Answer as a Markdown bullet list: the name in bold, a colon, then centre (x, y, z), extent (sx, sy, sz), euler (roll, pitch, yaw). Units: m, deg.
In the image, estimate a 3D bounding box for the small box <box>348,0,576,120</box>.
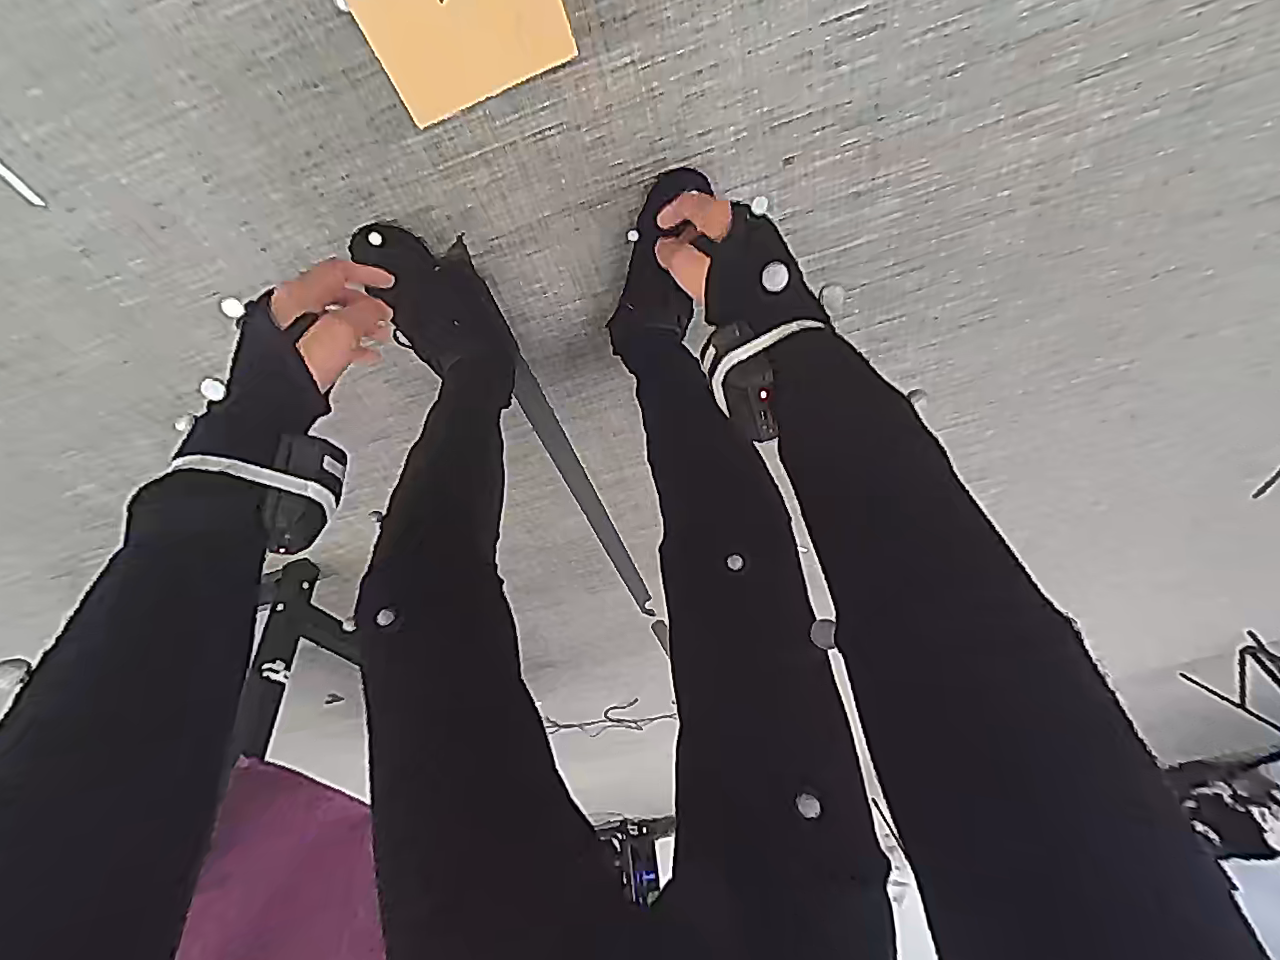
- **small box**: centre (-0.165, -0.465, 0.474), extent (0.168, 0.176, 0.179), euler (-18, 139, 9)
